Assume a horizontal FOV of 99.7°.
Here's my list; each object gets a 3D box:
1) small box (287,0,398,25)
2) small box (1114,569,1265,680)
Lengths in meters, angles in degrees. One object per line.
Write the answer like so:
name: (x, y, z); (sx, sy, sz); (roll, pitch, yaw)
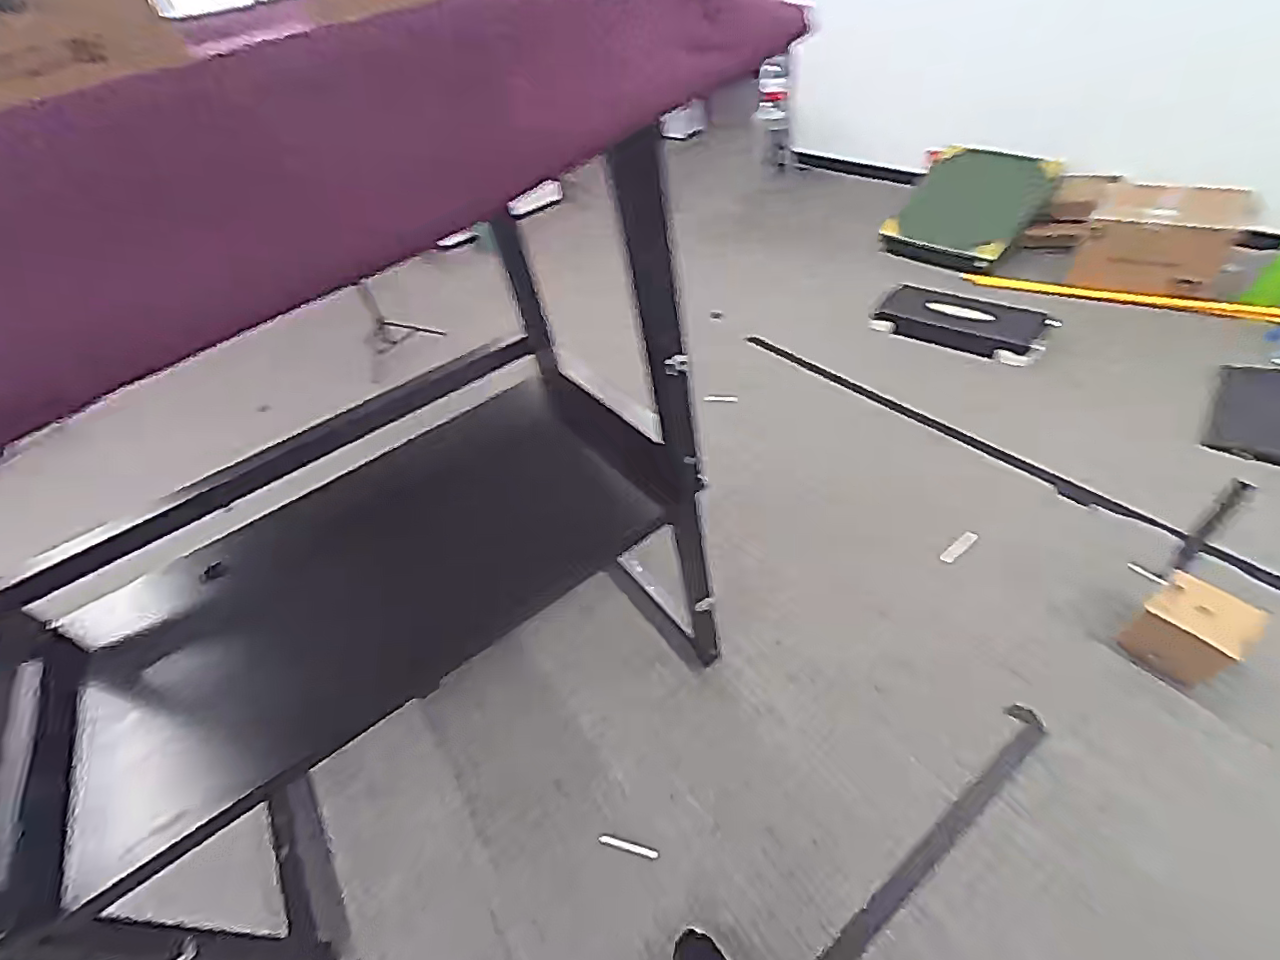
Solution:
small box: (-0.245, -0.512, 0.454); (0.179, 0.176, 0.168); (-32, 47, -16)
small box: (1.324, 0.359, 1.315); (0.168, 0.176, 0.179); (-34, 50, -19)
